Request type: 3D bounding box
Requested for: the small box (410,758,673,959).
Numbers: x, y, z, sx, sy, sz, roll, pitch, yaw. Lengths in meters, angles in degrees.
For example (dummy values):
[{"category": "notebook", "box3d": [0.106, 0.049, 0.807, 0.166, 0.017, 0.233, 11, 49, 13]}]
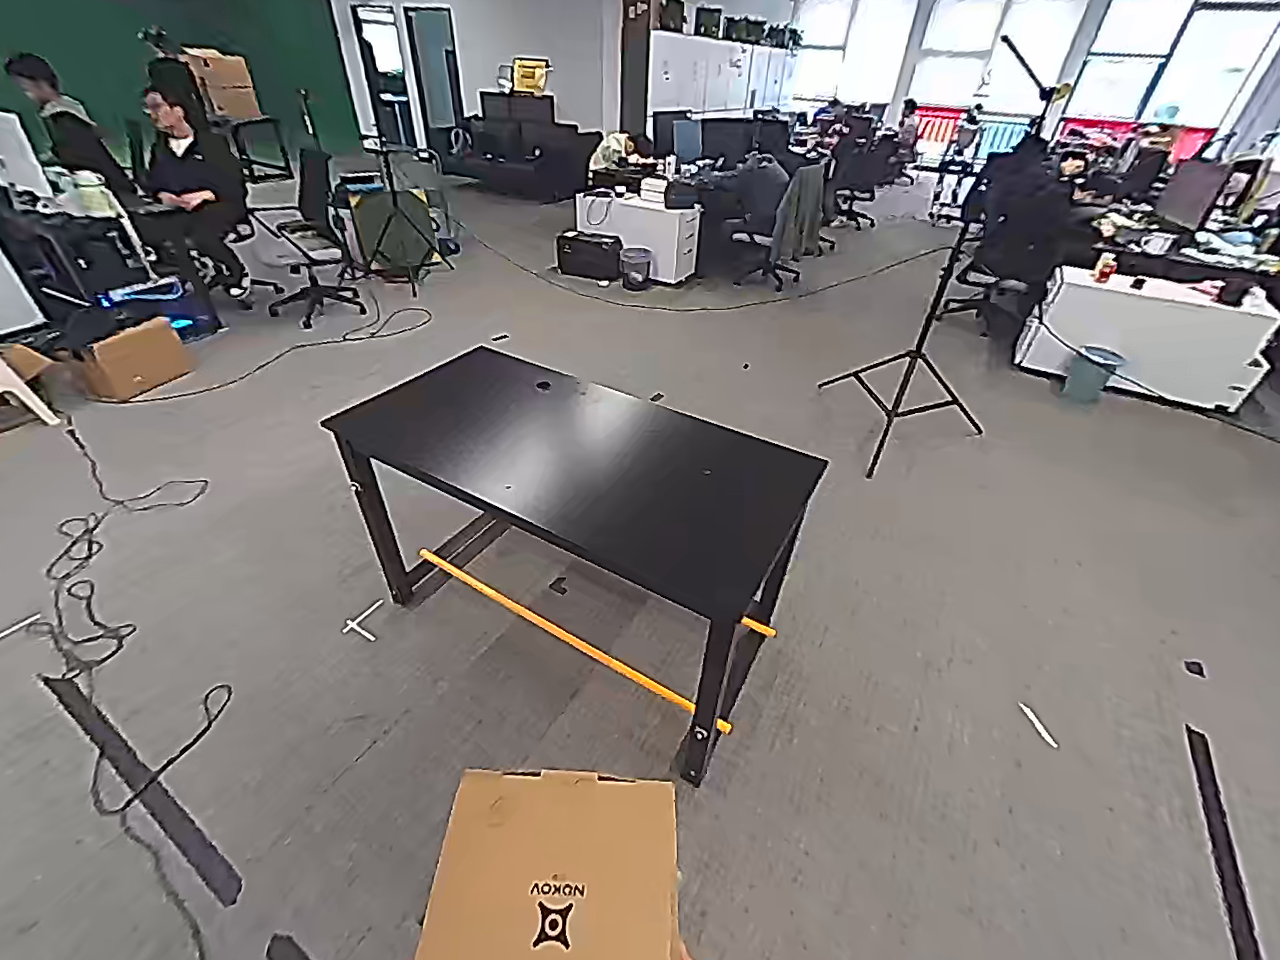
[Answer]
[{"category": "small box", "box3d": [-0.068, 0.340, 0.411, 0.168, 0.176, 0.179, 4, 41, -3]}]
